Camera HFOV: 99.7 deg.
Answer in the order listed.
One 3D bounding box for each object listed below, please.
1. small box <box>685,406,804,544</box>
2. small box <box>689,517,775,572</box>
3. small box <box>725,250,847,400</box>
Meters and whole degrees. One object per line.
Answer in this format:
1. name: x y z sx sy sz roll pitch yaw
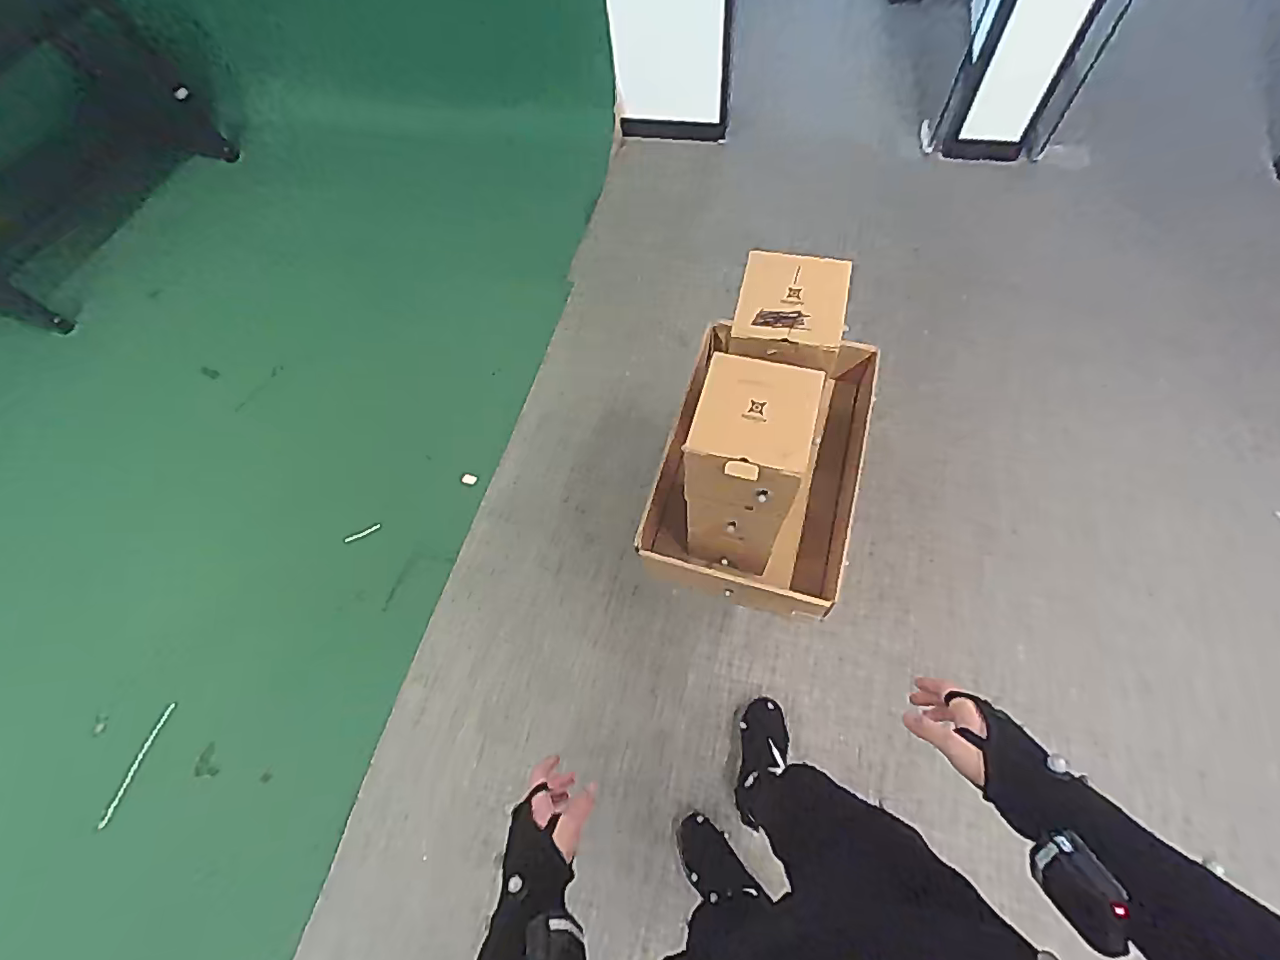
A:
1. small box: 0.185 -0.002 0.976 0.168 0.176 0.179 14 67 12
2. small box: 0.202 0.069 1.122 0.168 0.176 0.179 14 66 13
3. small box: 0.240 -0.256 0.916 0.168 0.176 0.179 10 68 11
